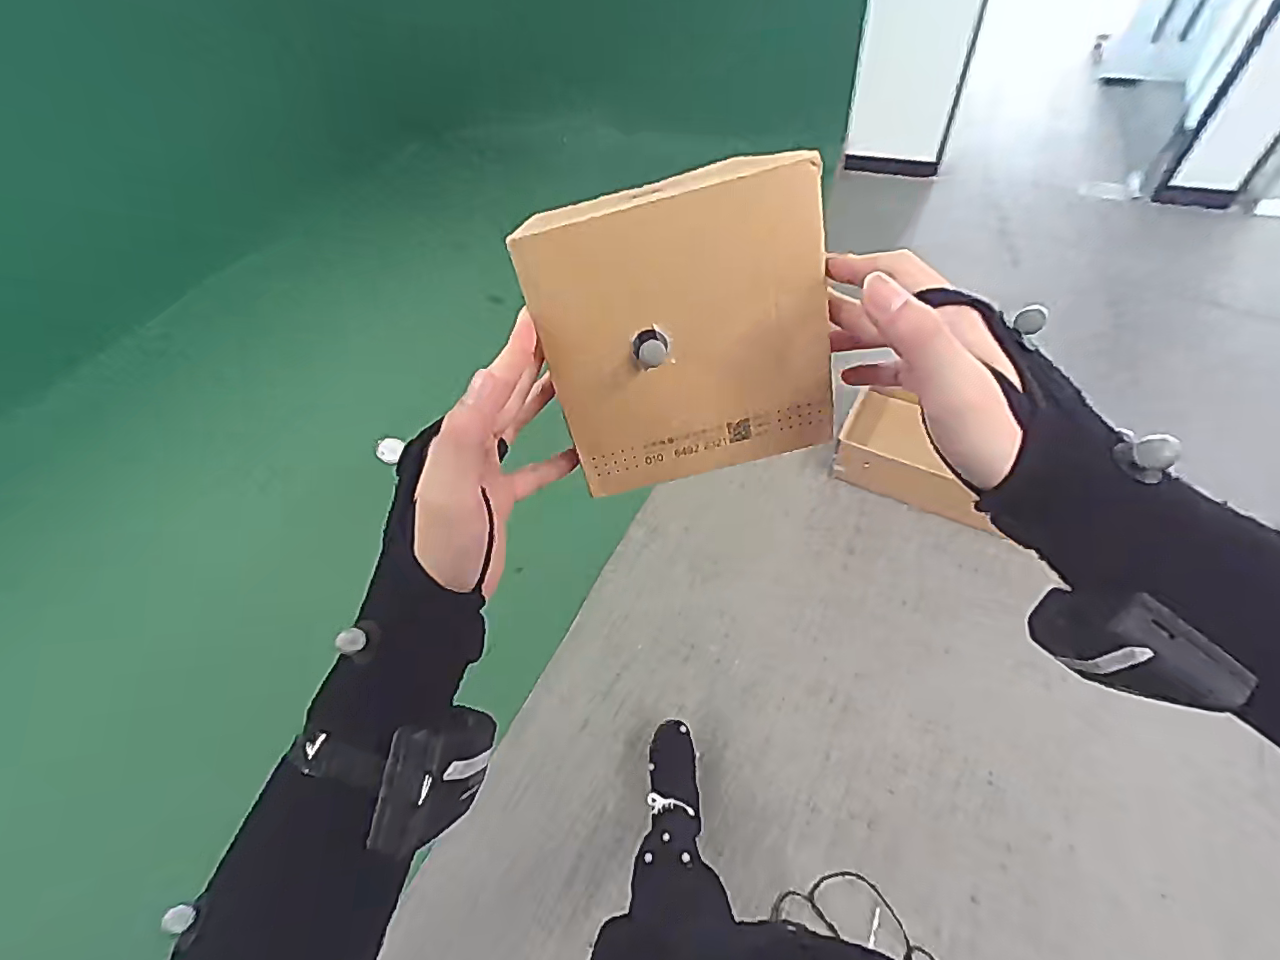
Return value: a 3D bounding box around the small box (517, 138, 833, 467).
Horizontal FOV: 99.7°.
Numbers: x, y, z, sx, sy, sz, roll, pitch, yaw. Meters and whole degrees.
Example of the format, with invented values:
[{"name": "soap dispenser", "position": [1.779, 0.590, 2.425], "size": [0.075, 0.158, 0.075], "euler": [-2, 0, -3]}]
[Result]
[{"name": "small box", "position": [0.027, -0.122, 0.387], "size": [0.168, 0.176, 0.179], "euler": [-14, 29, 3]}]
